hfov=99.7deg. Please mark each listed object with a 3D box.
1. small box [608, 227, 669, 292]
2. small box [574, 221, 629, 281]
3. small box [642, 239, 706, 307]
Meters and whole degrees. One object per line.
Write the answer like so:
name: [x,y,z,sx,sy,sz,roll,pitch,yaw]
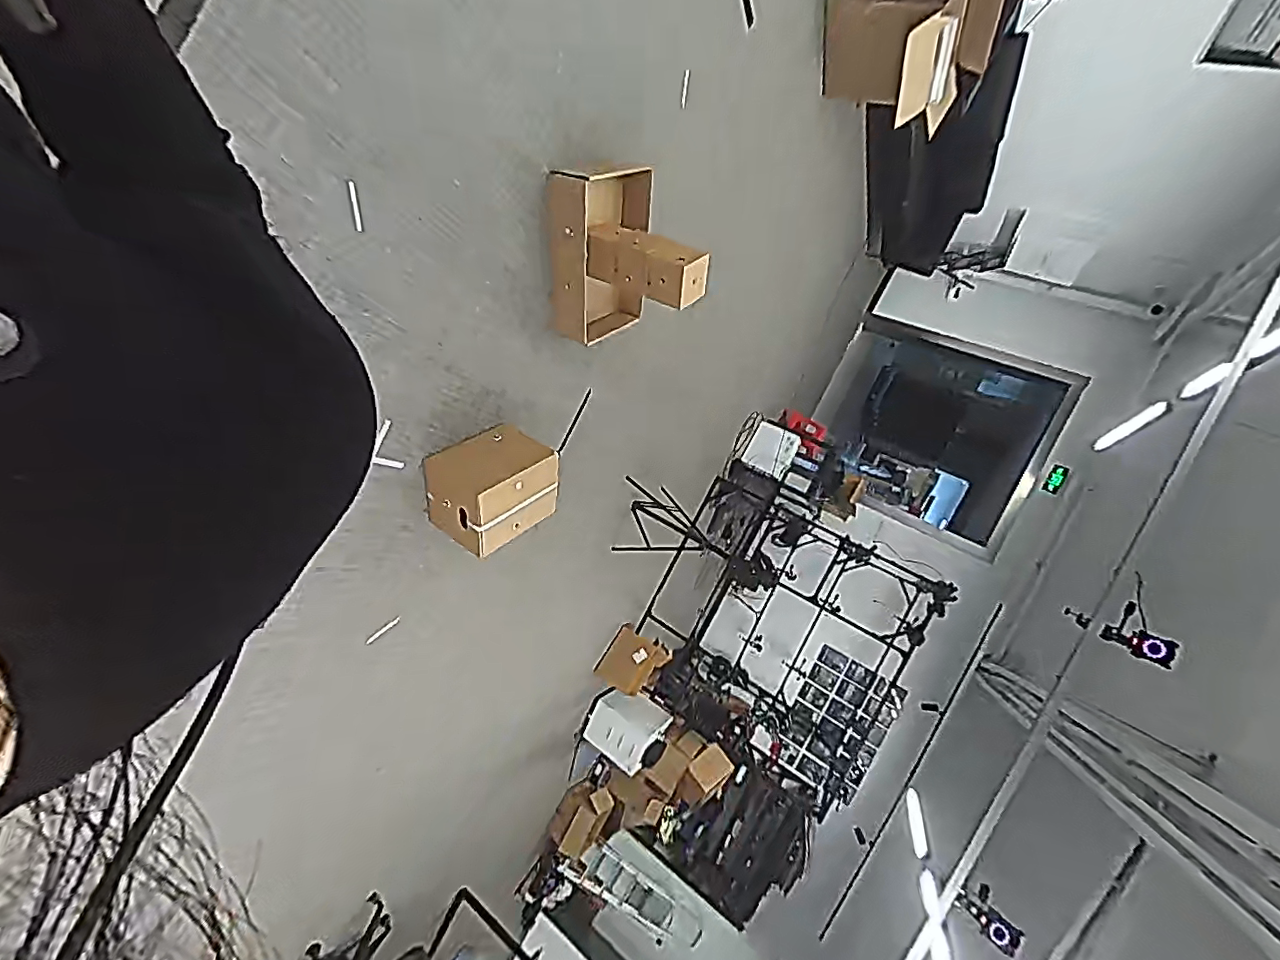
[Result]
small box: [-0.009,-0.850,2.077,0.179,0.176,0.168,-44,151,-37]
small box: [-0.141,-0.914,2.146,0.179,0.176,0.168,-39,147,-40]
small box: [0.123,-0.774,2.012,0.179,0.176,0.168,-42,151,-36]
